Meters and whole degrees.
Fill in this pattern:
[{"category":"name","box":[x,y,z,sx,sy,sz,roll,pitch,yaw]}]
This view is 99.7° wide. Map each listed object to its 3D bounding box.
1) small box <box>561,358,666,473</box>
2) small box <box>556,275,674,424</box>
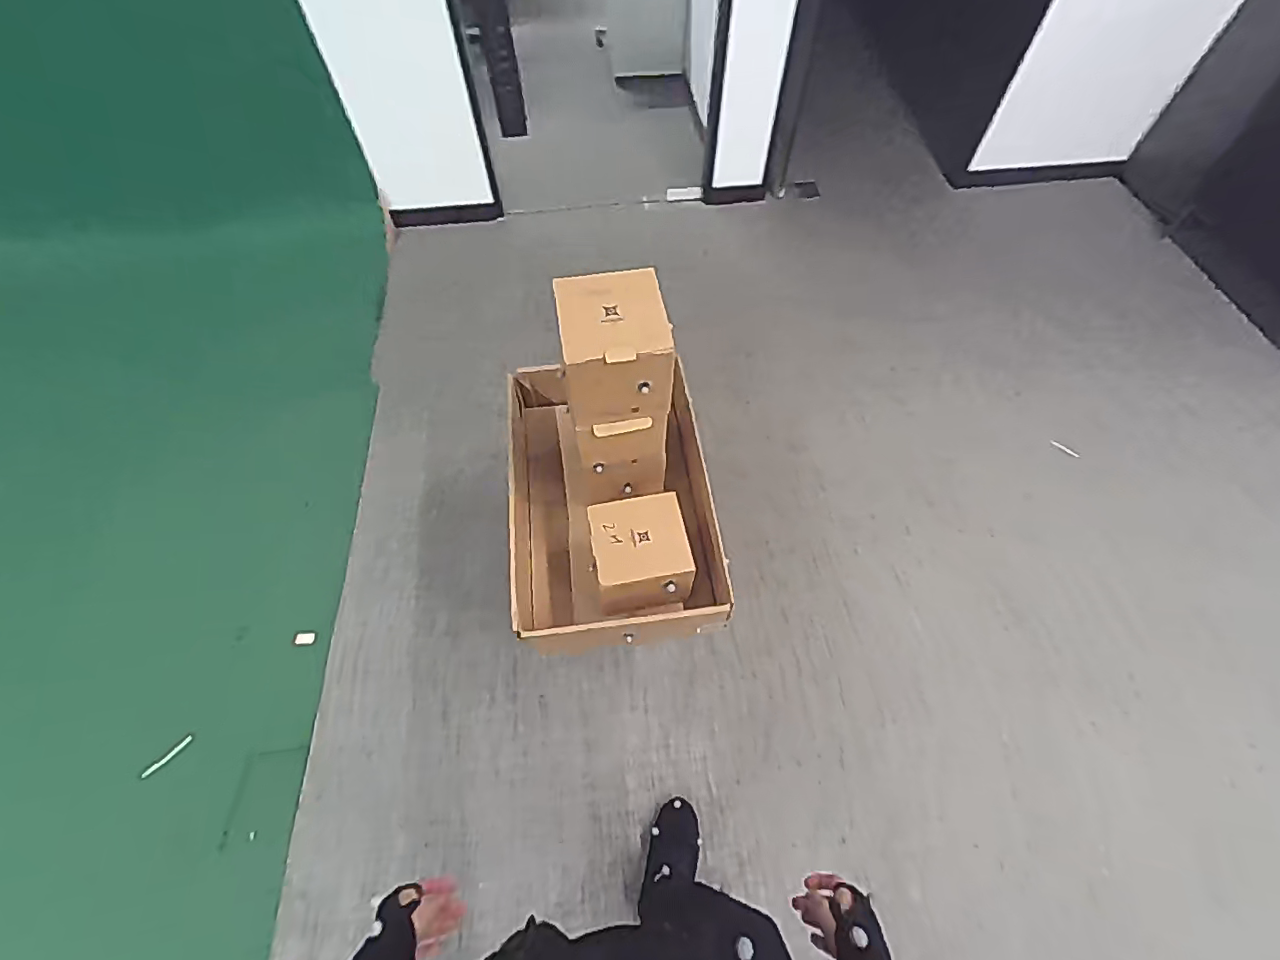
[{"category":"small box","box":[-0.049,-0.127,1.036,0.168,0.176,0.179,-11,62,-6]},{"category":"small box","box":[-0.041,-0.206,0.894,0.168,0.176,0.179,-8,62,-5]}]
